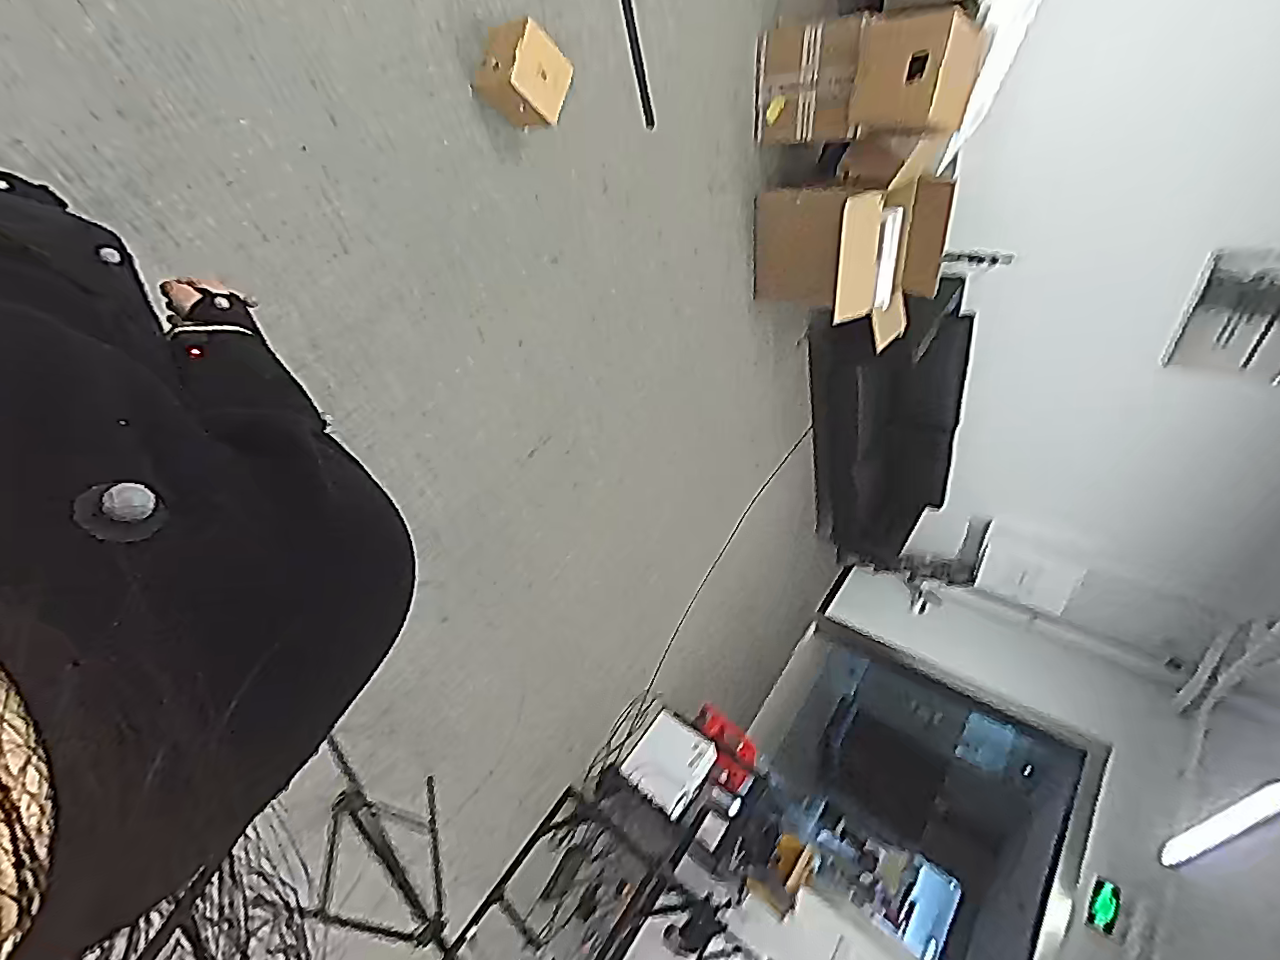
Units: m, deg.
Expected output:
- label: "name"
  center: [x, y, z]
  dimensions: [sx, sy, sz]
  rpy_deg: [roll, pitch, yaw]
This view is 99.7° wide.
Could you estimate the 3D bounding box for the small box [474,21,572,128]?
- label: "small box"
  center: [-0.325, -1.101, 1.488]
  dimensions: [0.179, 0.176, 0.168]
  rpy_deg: [15, 96, -56]
